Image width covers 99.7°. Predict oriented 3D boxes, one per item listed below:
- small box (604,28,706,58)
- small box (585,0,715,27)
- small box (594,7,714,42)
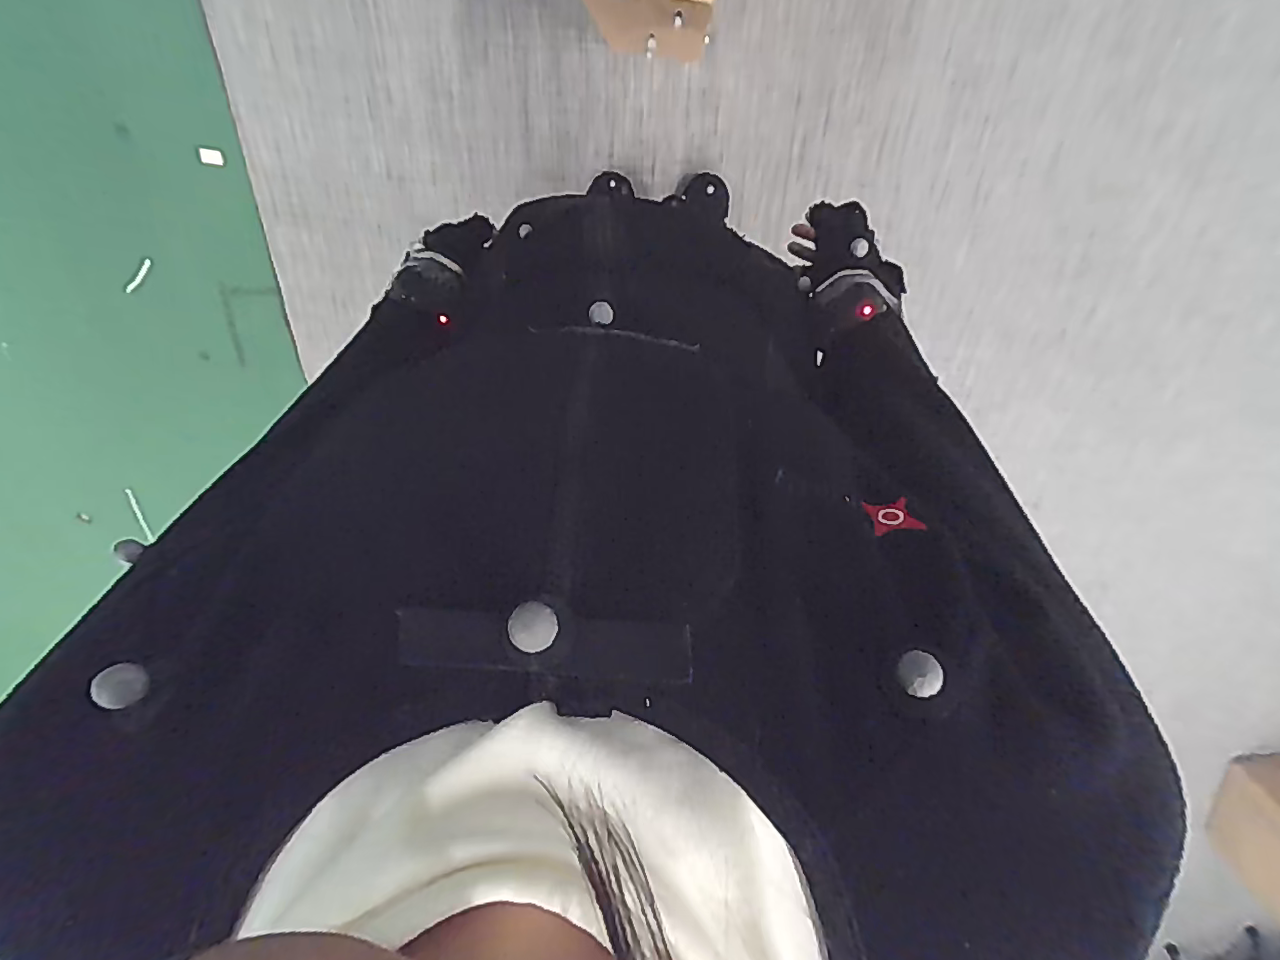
[{"bbox_3d":[0.037,-0.866,0.953,0.179,0.176,0.168,8,121,0],"label":"small box"},{"bbox_3d":[0.019,-0.695,0.676,0.179,0.176,0.168,8,120,0],"label":"small box"},{"bbox_3d":[0.029,-0.782,0.816,0.179,0.176,0.168,6,123,1],"label":"small box"}]
